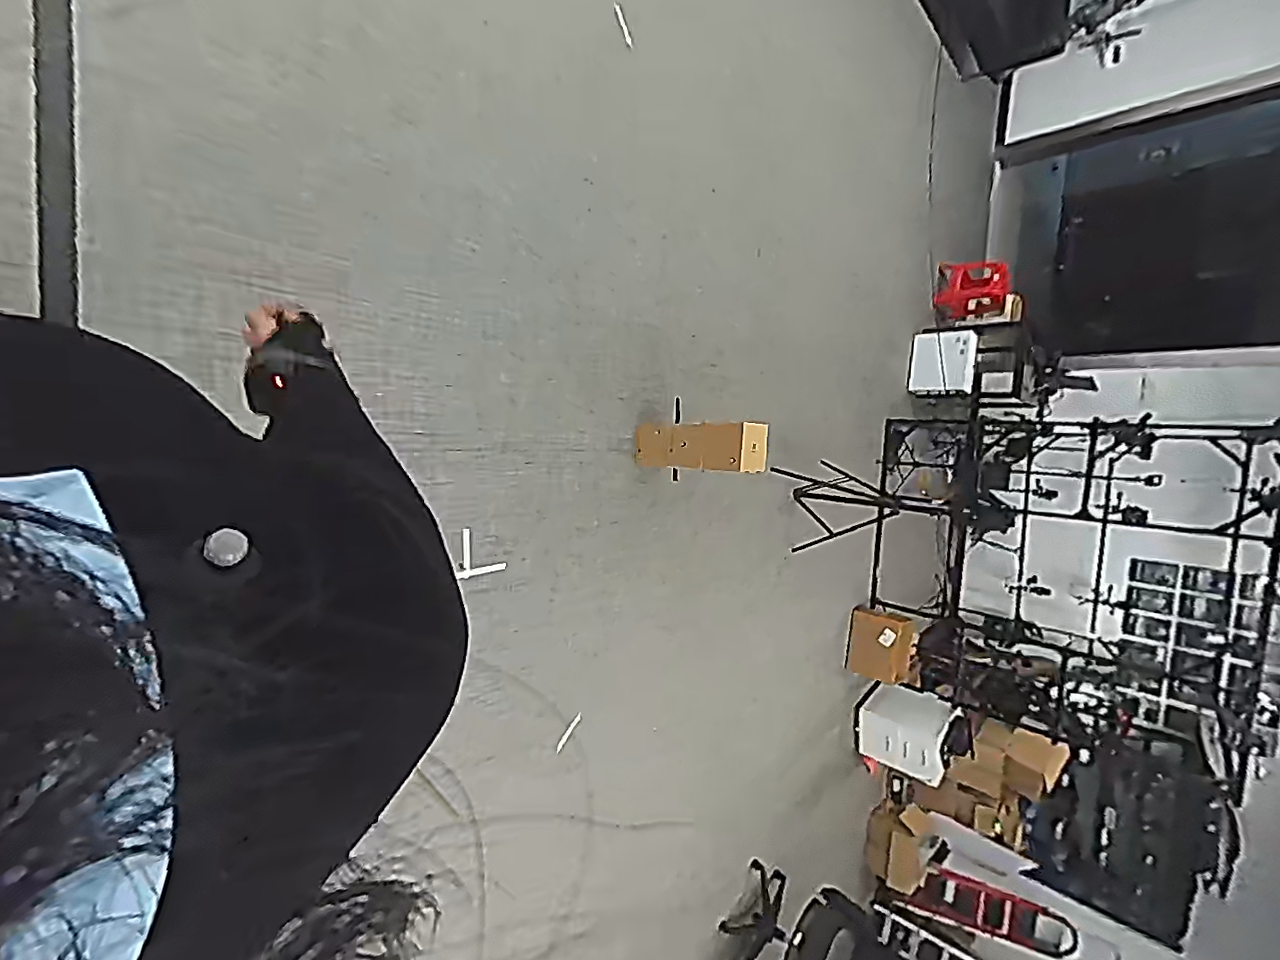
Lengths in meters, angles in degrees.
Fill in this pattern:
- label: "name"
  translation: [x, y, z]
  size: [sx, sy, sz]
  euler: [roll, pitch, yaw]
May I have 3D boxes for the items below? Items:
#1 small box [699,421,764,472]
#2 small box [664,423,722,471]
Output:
- label: "small box"
  translation: [0.331, -0.122, 1.966]
  size: [0.168, 0.176, 0.179]
  euler: [-2, 97, -47]
- label: "small box"
  translation: [0.210, -0.126, 2.075]
  size: [0.179, 0.176, 0.168]
  euler: [4, 93, -48]
